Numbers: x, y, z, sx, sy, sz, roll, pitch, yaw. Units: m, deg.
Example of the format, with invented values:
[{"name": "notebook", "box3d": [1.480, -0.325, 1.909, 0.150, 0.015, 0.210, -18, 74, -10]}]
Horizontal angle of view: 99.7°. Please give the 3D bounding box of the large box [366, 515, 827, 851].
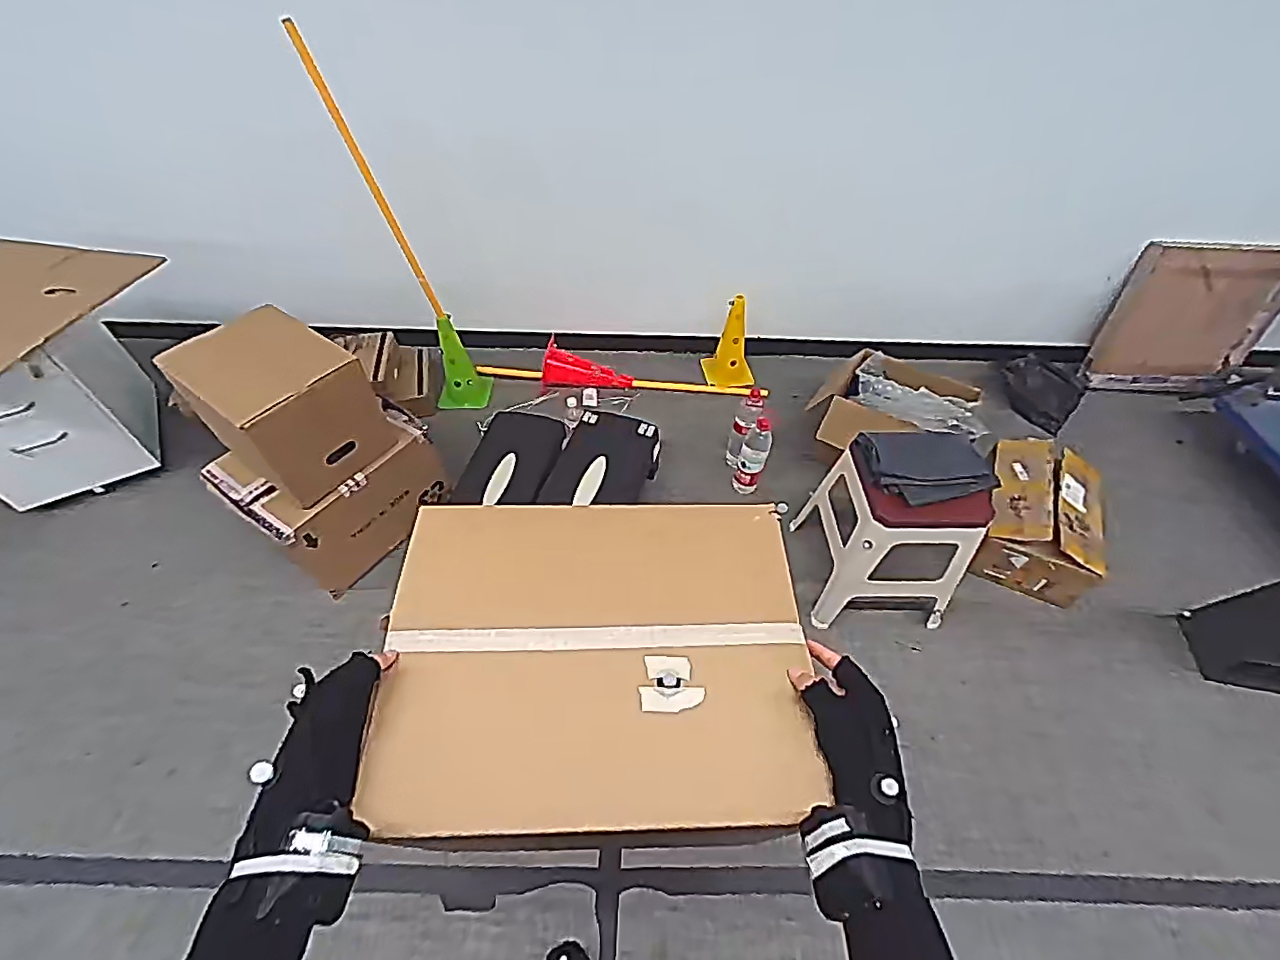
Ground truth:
[{"name": "large box", "box3d": [-0.046, 0.255, 0.666, 0.408, 0.320, 0.320, 0, 54, -3]}]
